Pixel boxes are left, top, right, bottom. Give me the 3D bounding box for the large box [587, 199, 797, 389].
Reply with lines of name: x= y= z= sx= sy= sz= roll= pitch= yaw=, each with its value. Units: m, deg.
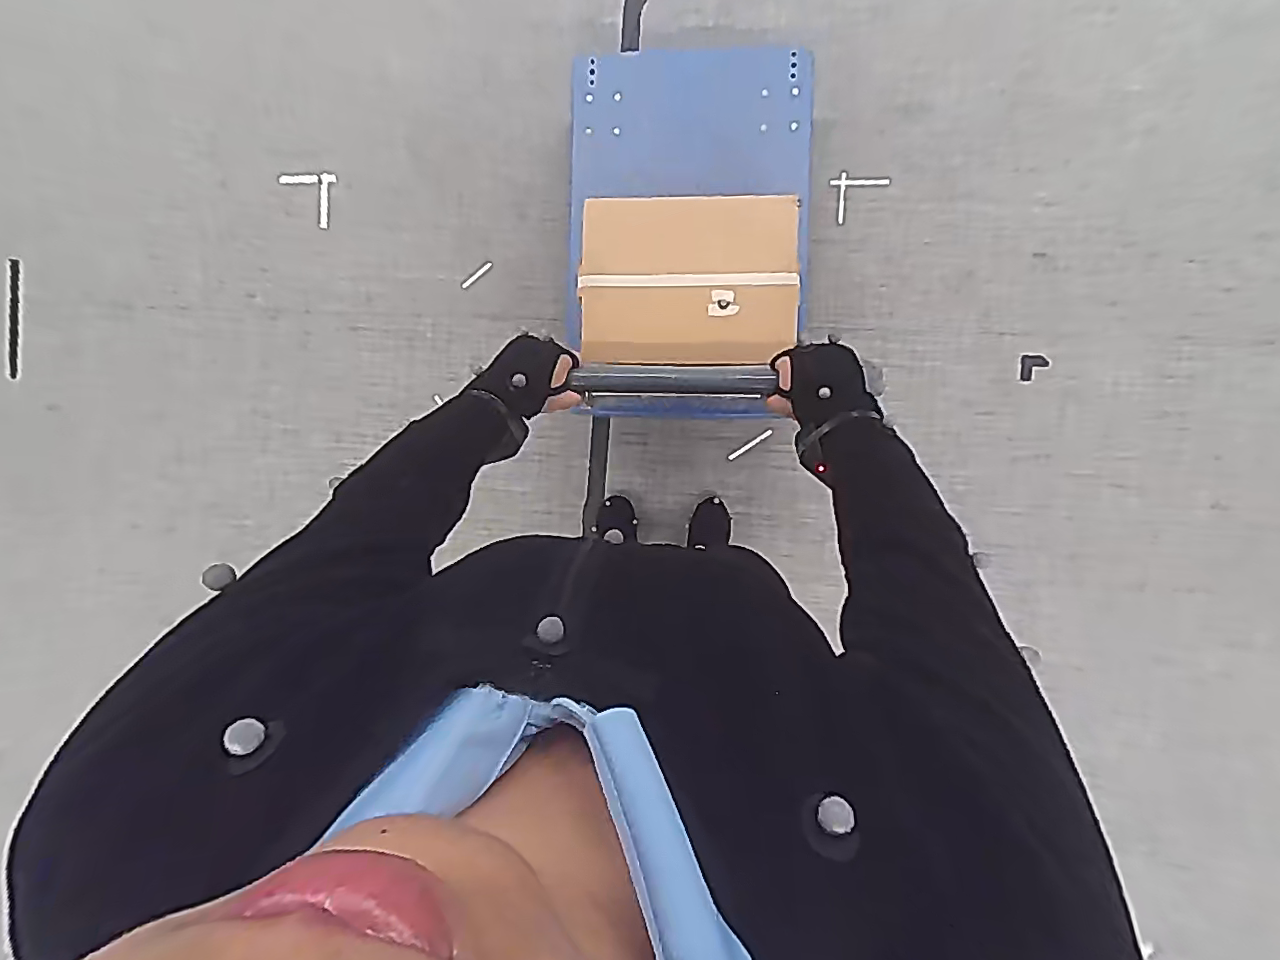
large box: x=0.104 y=-0.377 z=1.178 sx=0.408 sy=0.320 sz=0.320 roll=1 pitch=92 yaw=4
